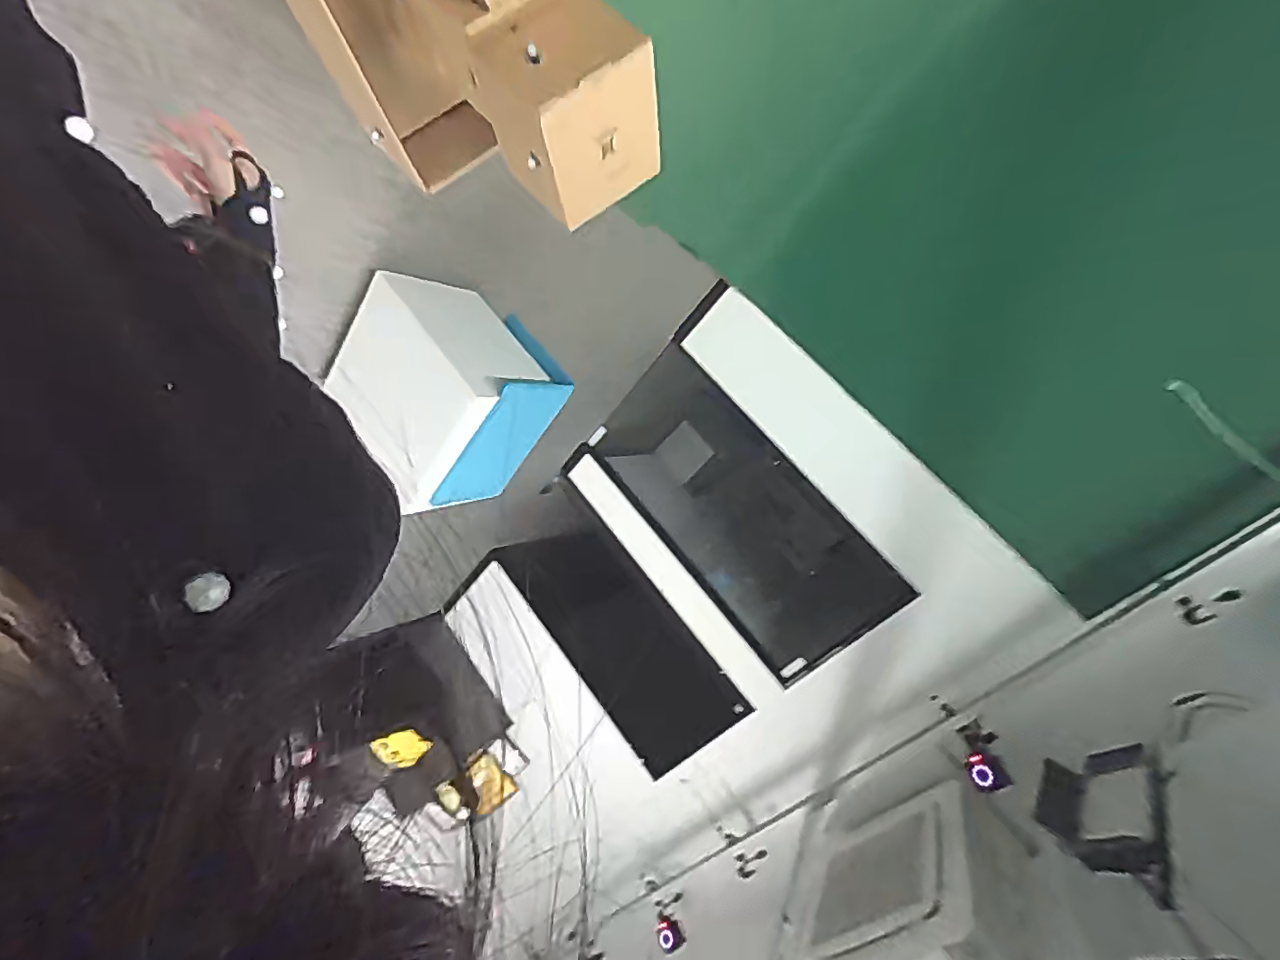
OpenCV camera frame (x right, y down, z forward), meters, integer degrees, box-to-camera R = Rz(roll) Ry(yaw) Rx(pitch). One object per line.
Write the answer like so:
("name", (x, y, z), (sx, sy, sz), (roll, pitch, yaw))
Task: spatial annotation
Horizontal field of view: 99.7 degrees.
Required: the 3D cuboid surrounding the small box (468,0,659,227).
("small box", (-0.094, -0.483, 0.707), (0.168, 0.176, 0.179), (-38, 161, -9))
